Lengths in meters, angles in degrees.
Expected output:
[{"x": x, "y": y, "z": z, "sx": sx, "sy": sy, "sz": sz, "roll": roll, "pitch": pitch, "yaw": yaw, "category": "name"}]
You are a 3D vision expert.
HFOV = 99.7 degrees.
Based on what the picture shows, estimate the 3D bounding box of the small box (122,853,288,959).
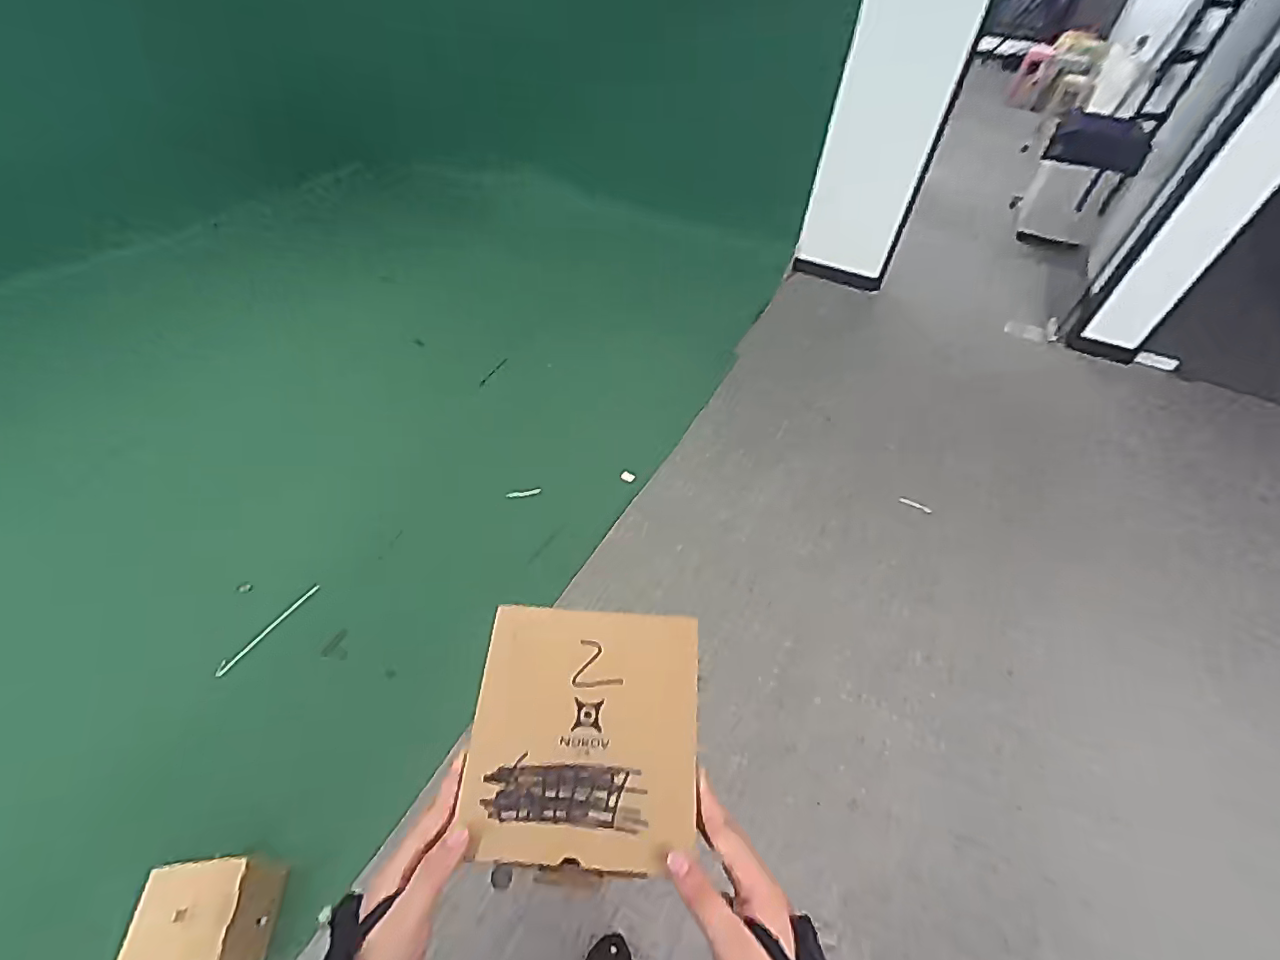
[{"x": -0.836, "y": 0.849, "z": 1.057, "sx": 0.179, "sy": 0.176, "sz": 0.168, "roll": -3, "pitch": 49, "yaw": -7, "category": "small box"}]
